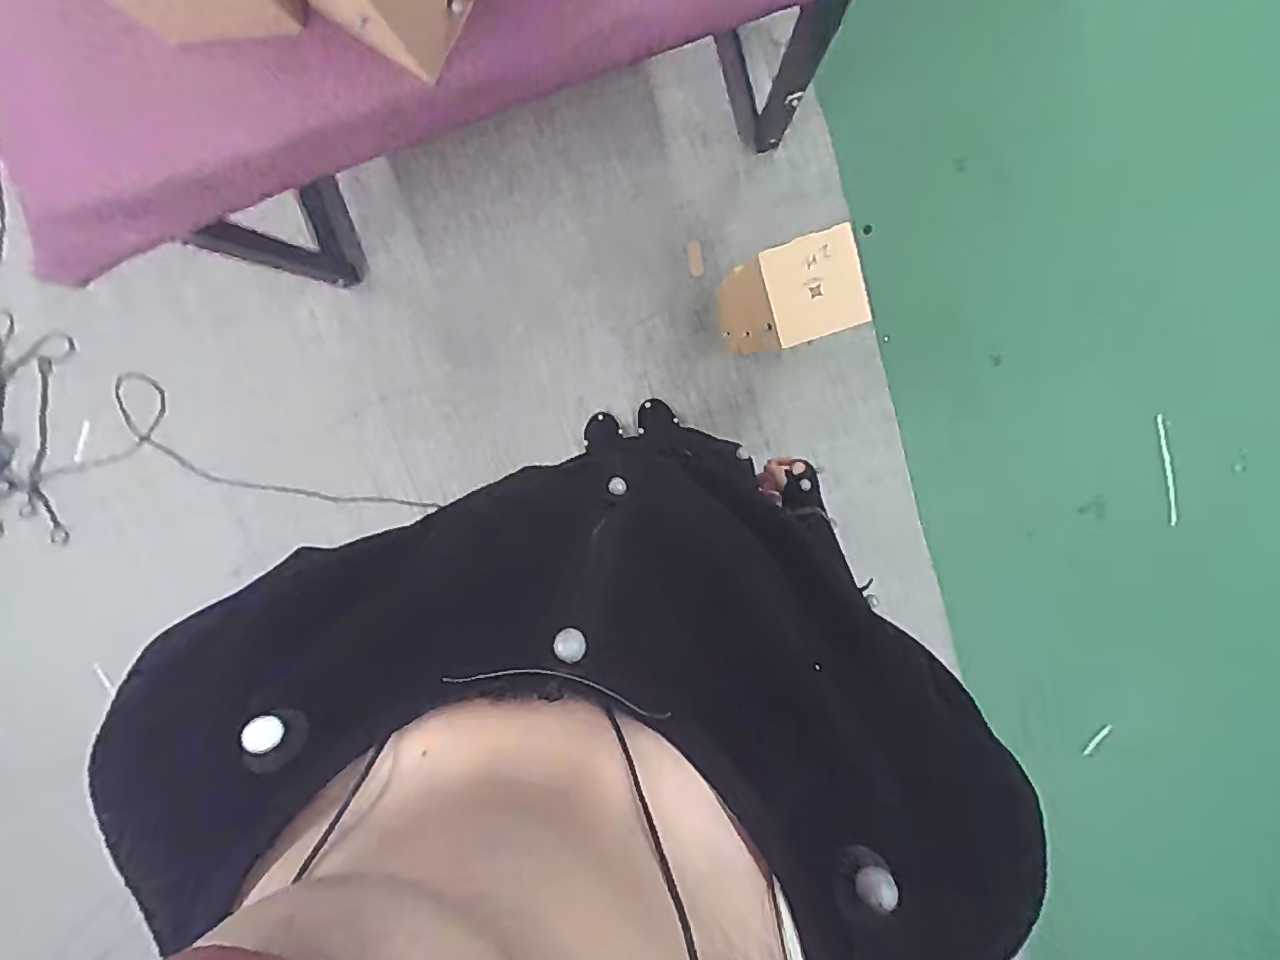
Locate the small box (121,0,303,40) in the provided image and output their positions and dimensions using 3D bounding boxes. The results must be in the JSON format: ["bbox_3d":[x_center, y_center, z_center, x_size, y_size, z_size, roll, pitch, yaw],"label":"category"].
[{"bbox_3d":[-0.514,-0.621,0.589,0.179,0.176,0.168,-4,101,1],"label":"small box"}]

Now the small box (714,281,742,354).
[{"bbox_3d":[0.288,-0.417,1.347,0.179,0.176,0.168,-15,100,4],"label":"small box"}]

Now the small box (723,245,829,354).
[{"bbox_3d":[0.290,-0.386,1.188,0.168,0.176,0.179,-18,101,5],"label":"small box"}]
